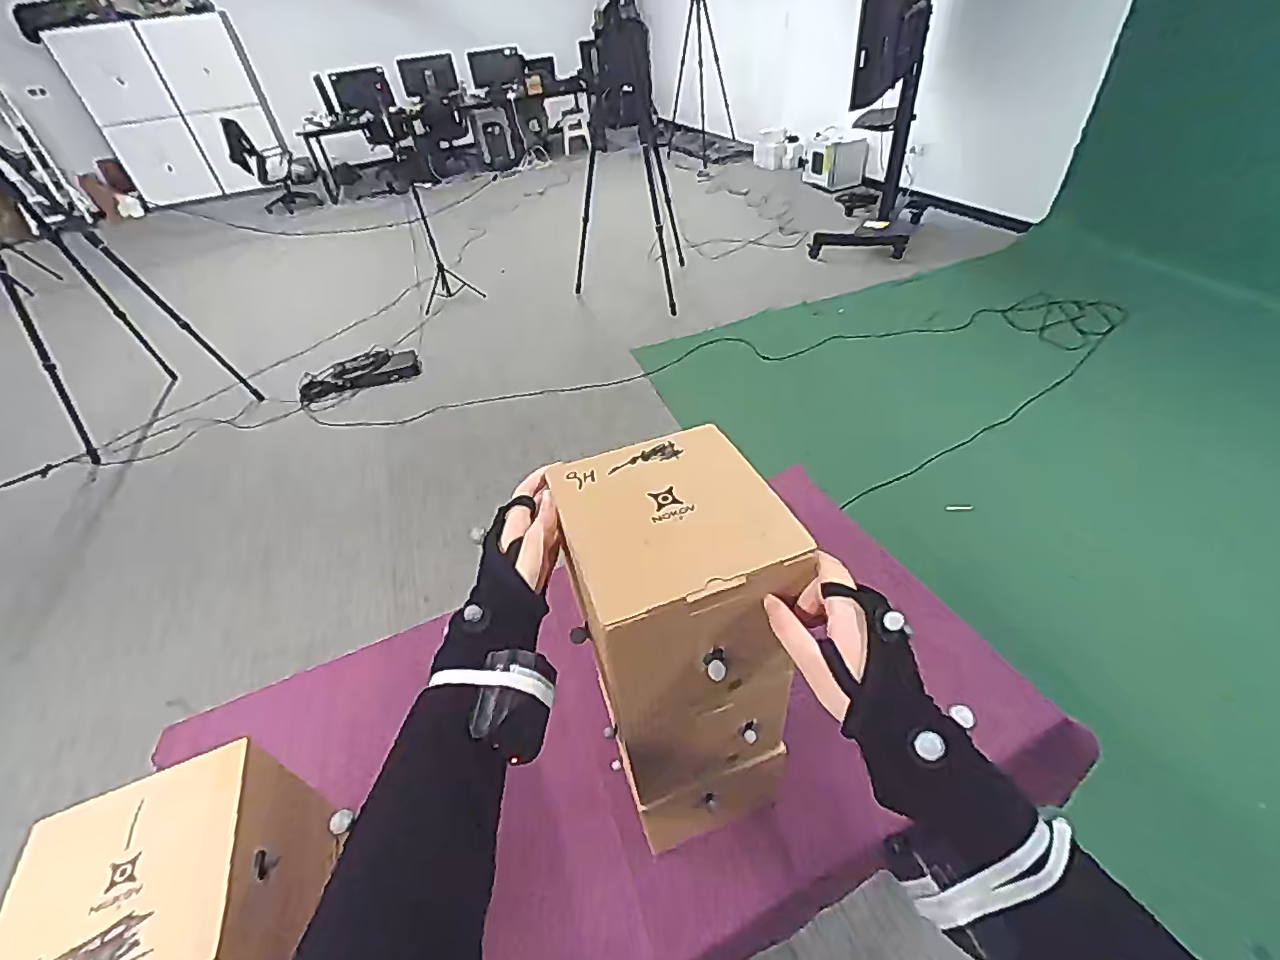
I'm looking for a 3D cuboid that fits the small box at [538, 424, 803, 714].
[{"bbox_3d":[0.022,0.082,0.484,0.168,0.176,0.179,-17,44,-12],"label":"small box"}]

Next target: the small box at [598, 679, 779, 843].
[{"bbox_3d":[0.062,0.330,0.696,0.179,0.176,0.168,-17,43,-9],"label":"small box"}]

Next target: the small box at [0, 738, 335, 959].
[{"bbox_3d":[-0.393,0.376,0.479,0.168,0.176,0.179,-20,42,-14],"label":"small box"}]

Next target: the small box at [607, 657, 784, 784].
[{"bbox_3d":[0.040,0.204,0.594,0.168,0.176,0.179,-17,42,-10],"label":"small box"}]
